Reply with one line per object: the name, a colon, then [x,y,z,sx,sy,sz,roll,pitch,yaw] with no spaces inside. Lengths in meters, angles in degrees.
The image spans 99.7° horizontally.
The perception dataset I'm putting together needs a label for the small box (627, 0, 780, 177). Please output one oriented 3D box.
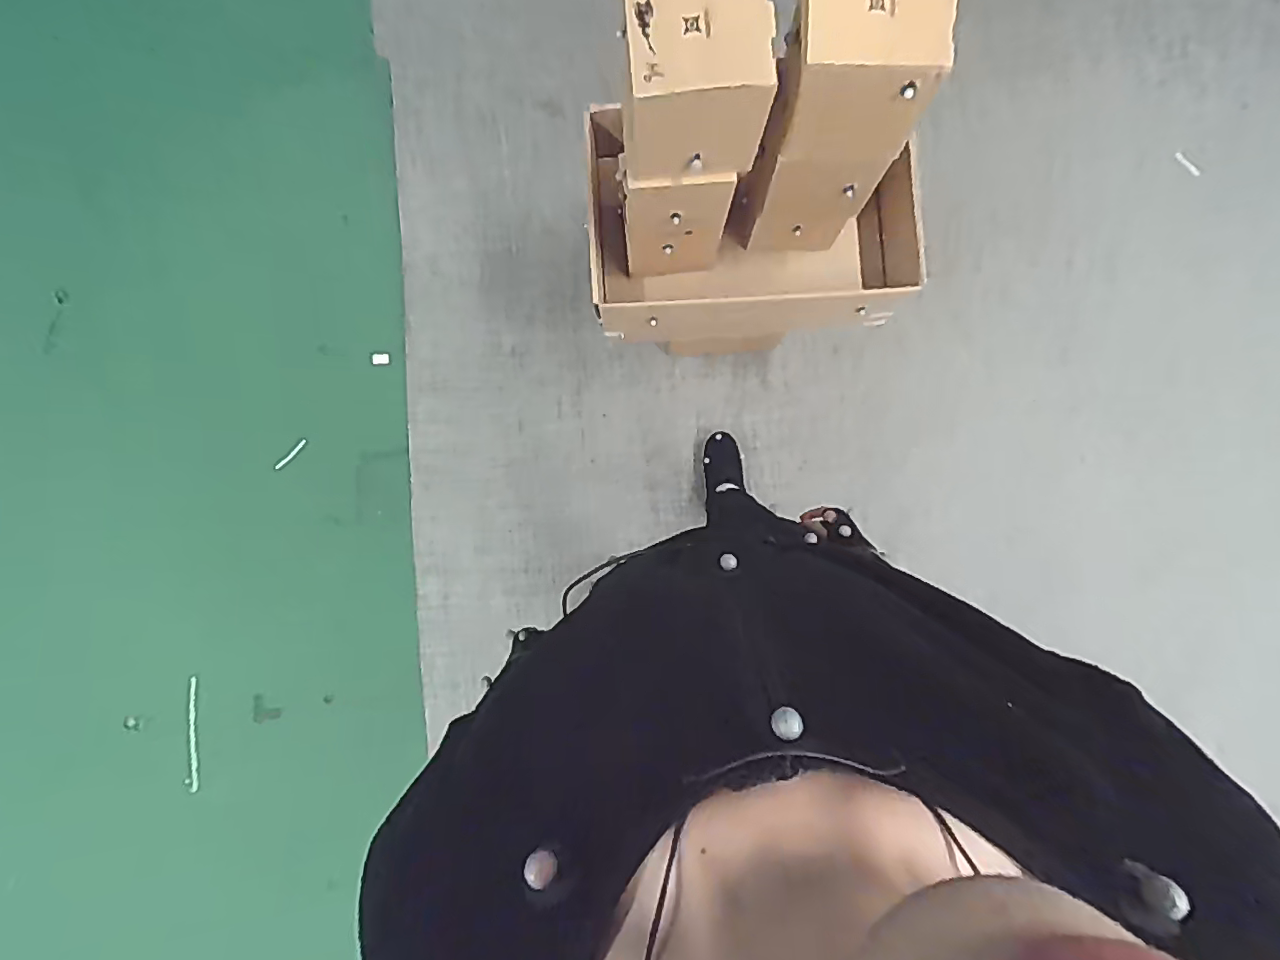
small box: [0.074,-0.535,0.723,0.179,0.176,0.168,-5,87,0]
